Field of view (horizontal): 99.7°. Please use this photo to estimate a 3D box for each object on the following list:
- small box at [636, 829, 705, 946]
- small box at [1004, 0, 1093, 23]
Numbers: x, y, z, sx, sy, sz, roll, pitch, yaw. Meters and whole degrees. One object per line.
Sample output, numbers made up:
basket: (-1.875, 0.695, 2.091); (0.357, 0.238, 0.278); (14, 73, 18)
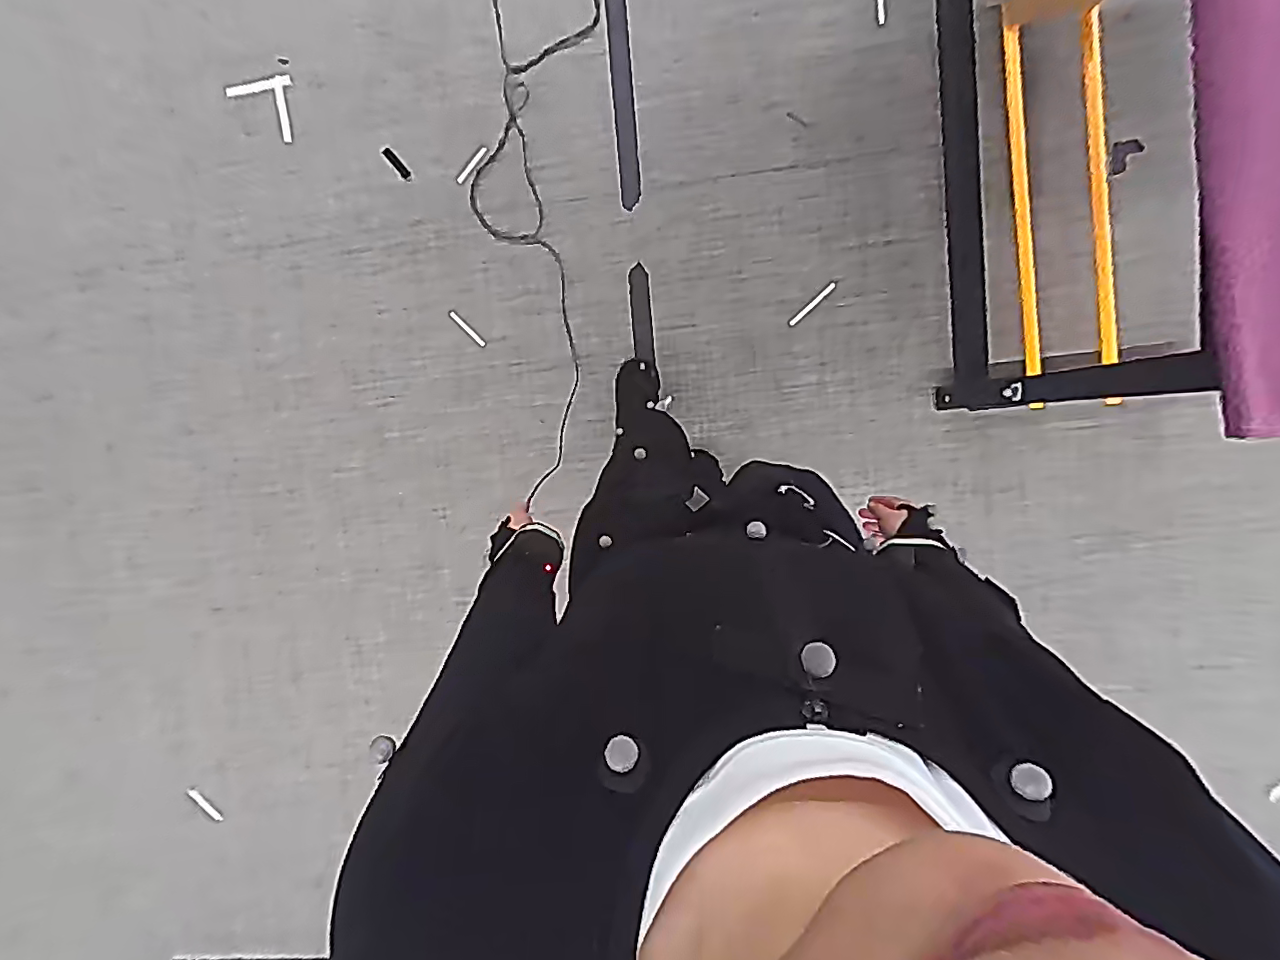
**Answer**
small box: (0.082, 1.041, 1.391); (0.168, 0.176, 0.179); (-3, 94, 5)
small box: (0.820, -1.019, 1.017); (0.179, 0.176, 0.168); (-9, 95, 7)
